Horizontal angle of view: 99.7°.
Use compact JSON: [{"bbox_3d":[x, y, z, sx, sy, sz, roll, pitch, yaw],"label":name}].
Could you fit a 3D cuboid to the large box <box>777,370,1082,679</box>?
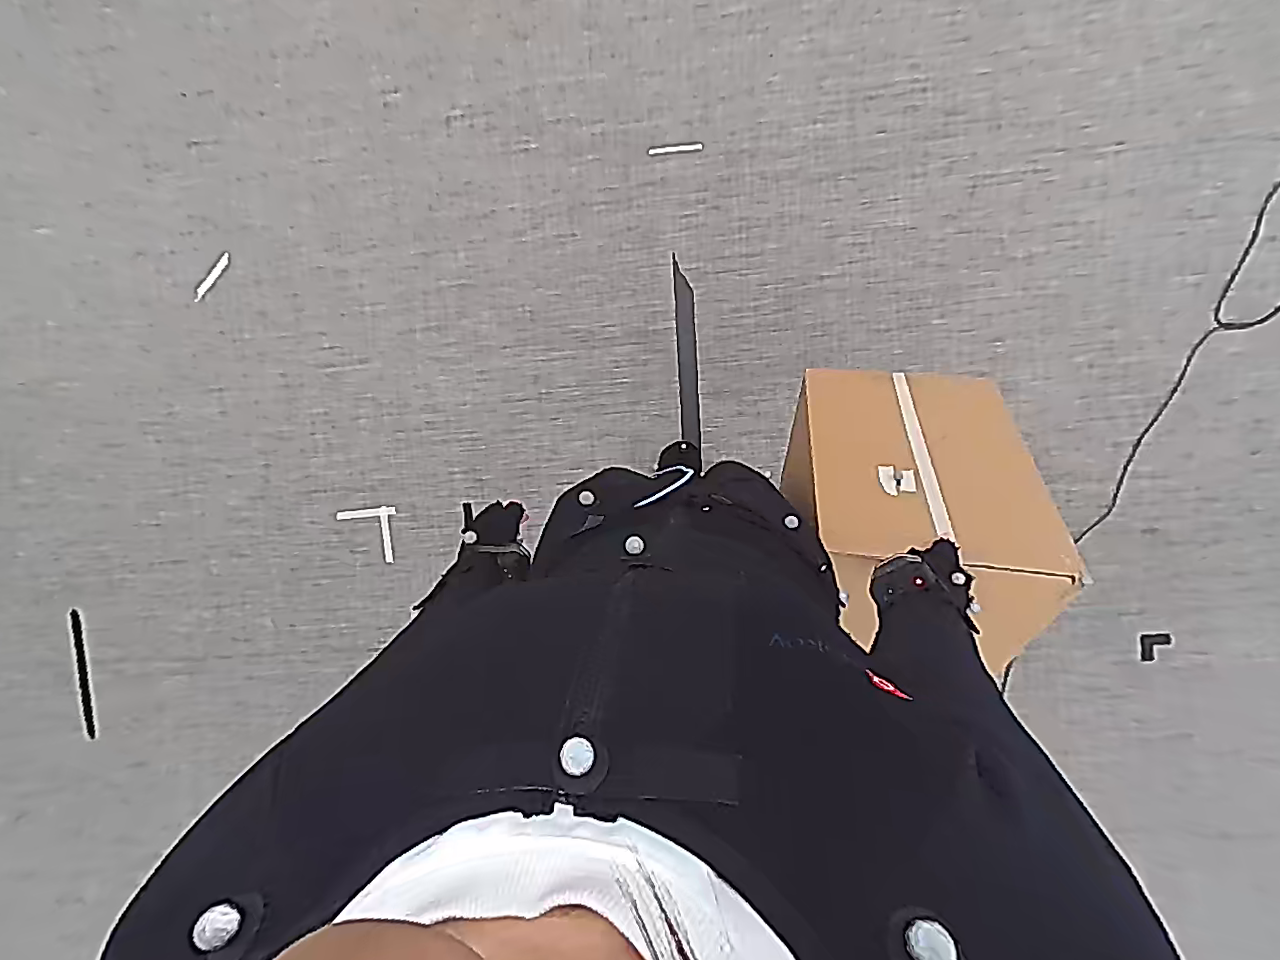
[{"bbox_3d":[0.417,0.065,0.912,0.320,0.408,0.320,4,138,8],"label":"large box"}]
